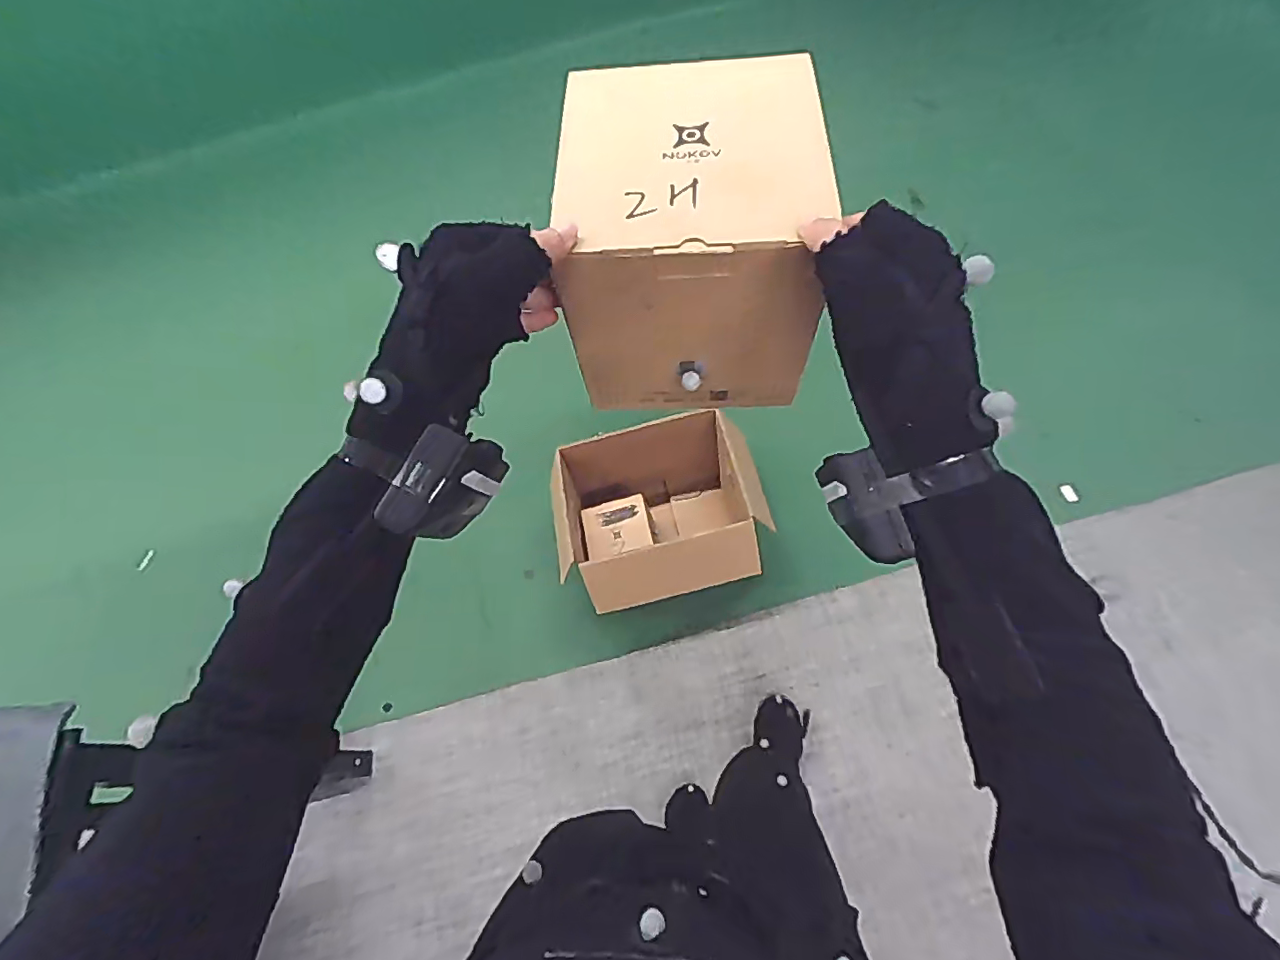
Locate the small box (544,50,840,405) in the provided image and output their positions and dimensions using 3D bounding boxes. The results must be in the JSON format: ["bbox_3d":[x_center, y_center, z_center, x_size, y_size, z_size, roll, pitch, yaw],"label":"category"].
[{"bbox_3d":[0.035,-0.174,0.403,0.168,0.176,0.179,-1,65,5],"label":"small box"}]
